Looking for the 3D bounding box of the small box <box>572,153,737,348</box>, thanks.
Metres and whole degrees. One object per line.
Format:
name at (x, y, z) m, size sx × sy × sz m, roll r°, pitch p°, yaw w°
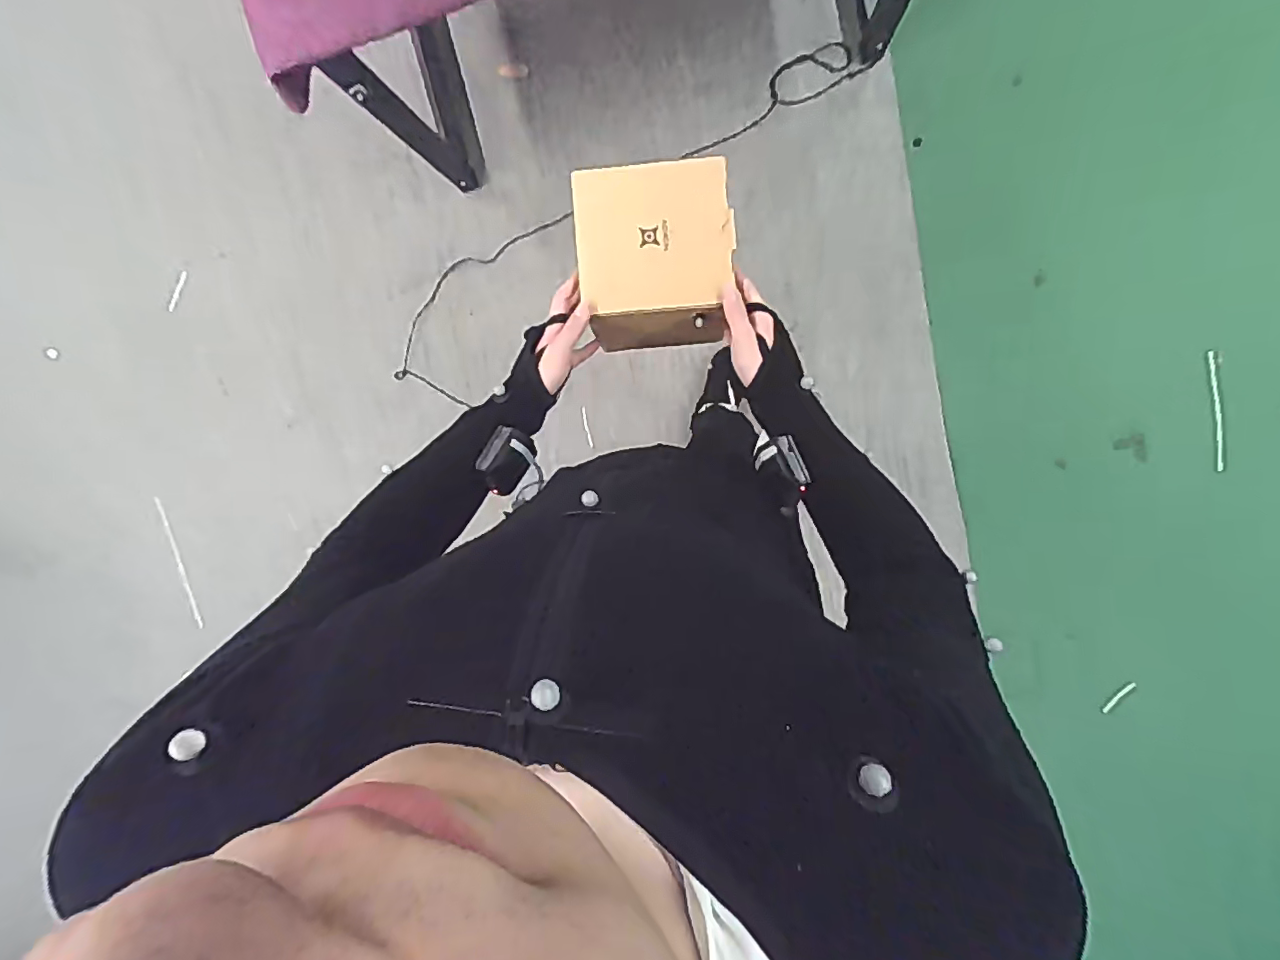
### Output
small box at (0.019, -0.270, 0.674) m, size 0.179 × 0.176 × 0.168 m, roll -4°, pitch 89°, yaw 2°
